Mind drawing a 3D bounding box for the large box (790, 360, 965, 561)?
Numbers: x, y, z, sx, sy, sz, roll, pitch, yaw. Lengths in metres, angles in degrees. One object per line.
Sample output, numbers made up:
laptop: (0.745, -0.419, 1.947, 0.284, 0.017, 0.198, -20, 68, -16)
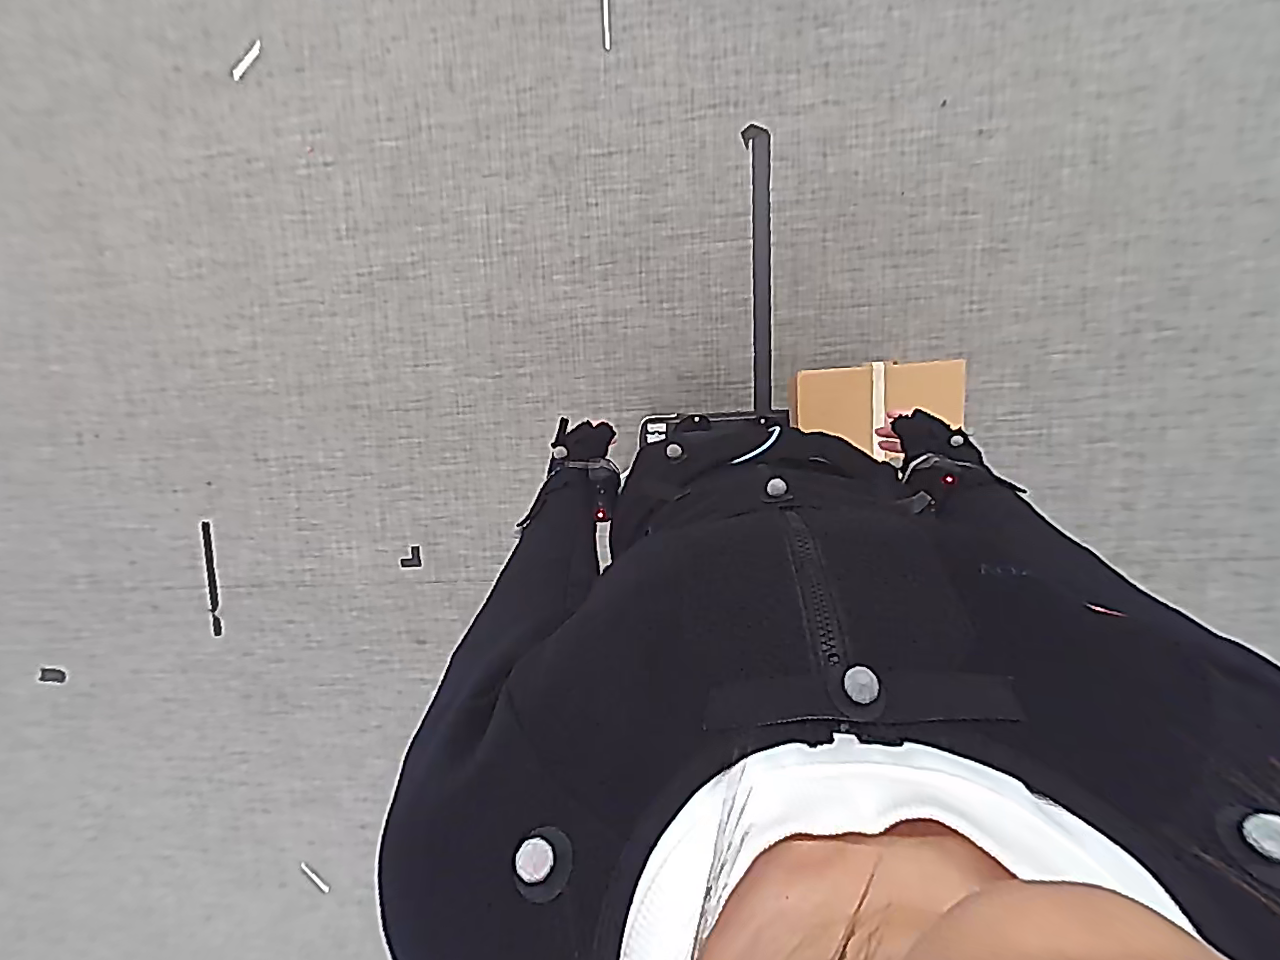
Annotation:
large box: (0.519, -0.053, 1.242, 0.320, 0.320, 0.408, -2, 98, 13)
